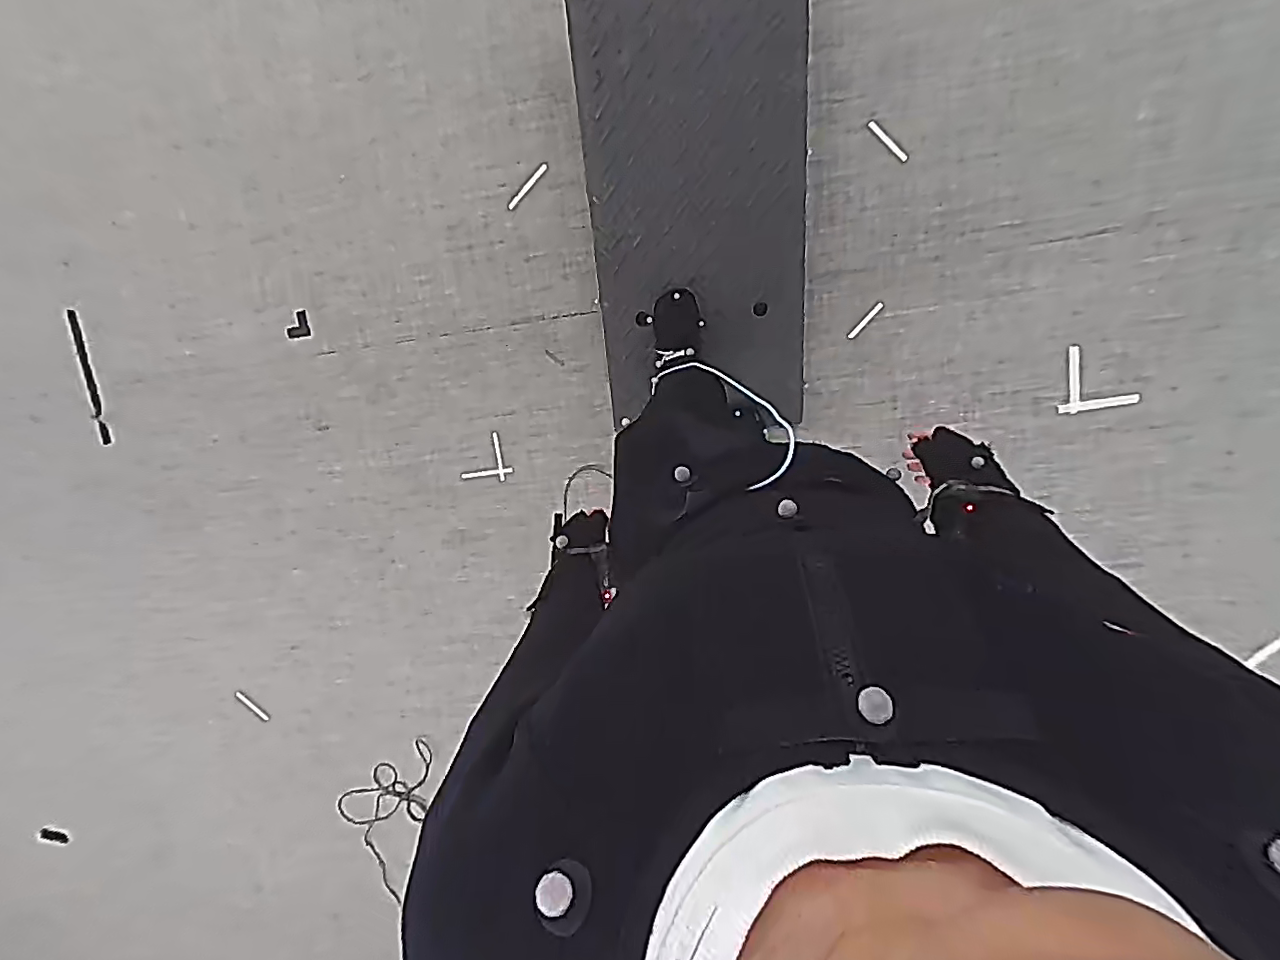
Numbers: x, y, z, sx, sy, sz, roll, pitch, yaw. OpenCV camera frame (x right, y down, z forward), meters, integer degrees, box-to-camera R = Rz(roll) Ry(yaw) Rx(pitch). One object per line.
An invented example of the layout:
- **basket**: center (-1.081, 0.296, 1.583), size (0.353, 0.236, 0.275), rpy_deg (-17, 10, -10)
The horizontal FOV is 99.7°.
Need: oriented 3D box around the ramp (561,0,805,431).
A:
- **ramp**: center (0.123, -0.605, 1.240), size (0.509, 0.206, 0.991), rpy_deg (-5, 102, 7)
